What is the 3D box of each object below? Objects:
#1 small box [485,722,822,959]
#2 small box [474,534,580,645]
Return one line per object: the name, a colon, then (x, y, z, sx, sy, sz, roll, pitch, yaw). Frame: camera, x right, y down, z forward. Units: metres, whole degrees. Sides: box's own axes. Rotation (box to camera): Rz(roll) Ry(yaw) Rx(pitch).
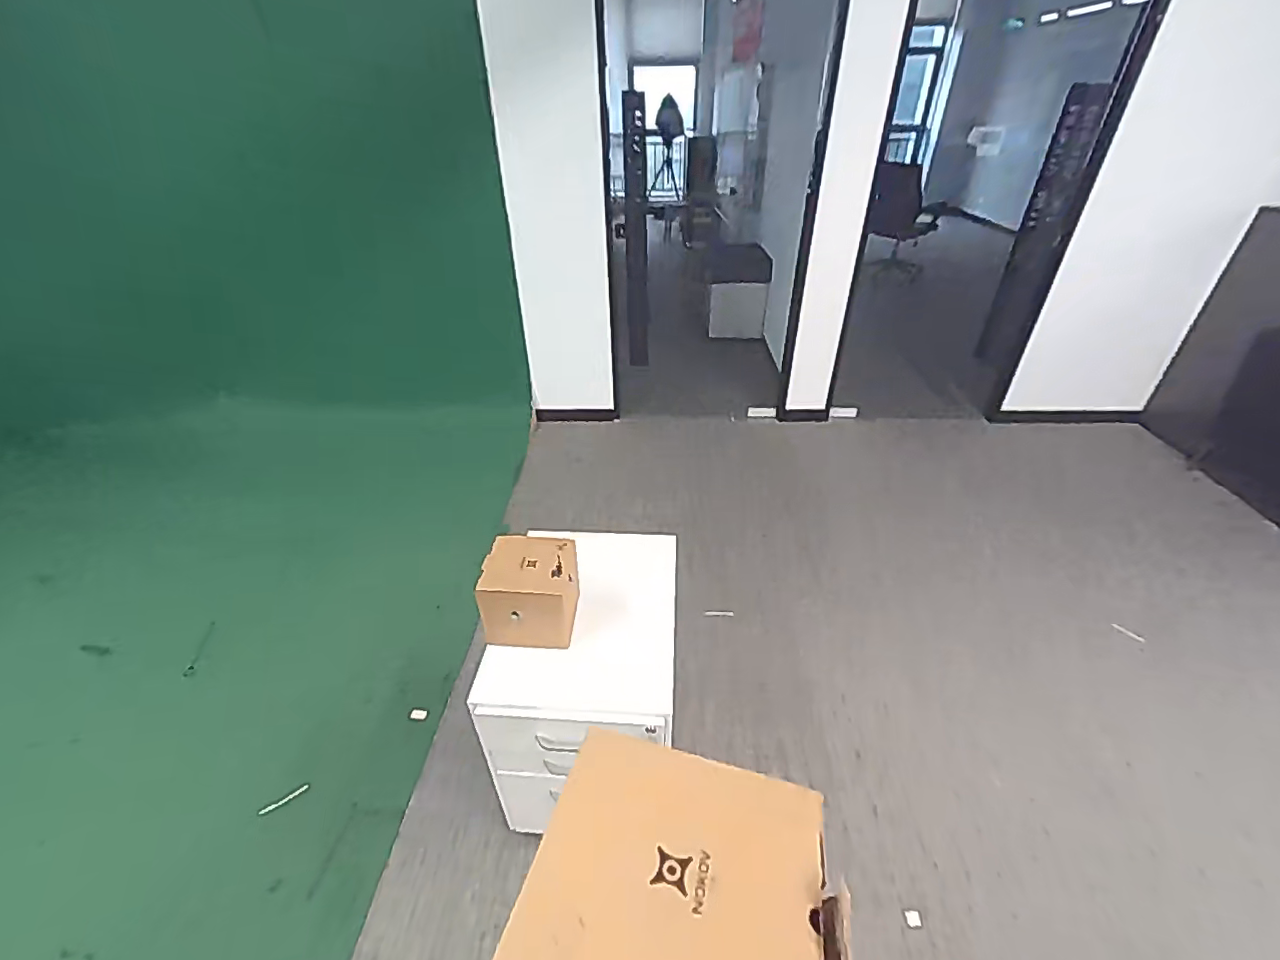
small box: (0.016, 0.306, 0.365, 0.179, 0.176, 0.168, 11, 27, 11)
small box: (-0.231, 0.233, 1.151, 0.179, 0.176, 0.168, 2, 36, 3)
